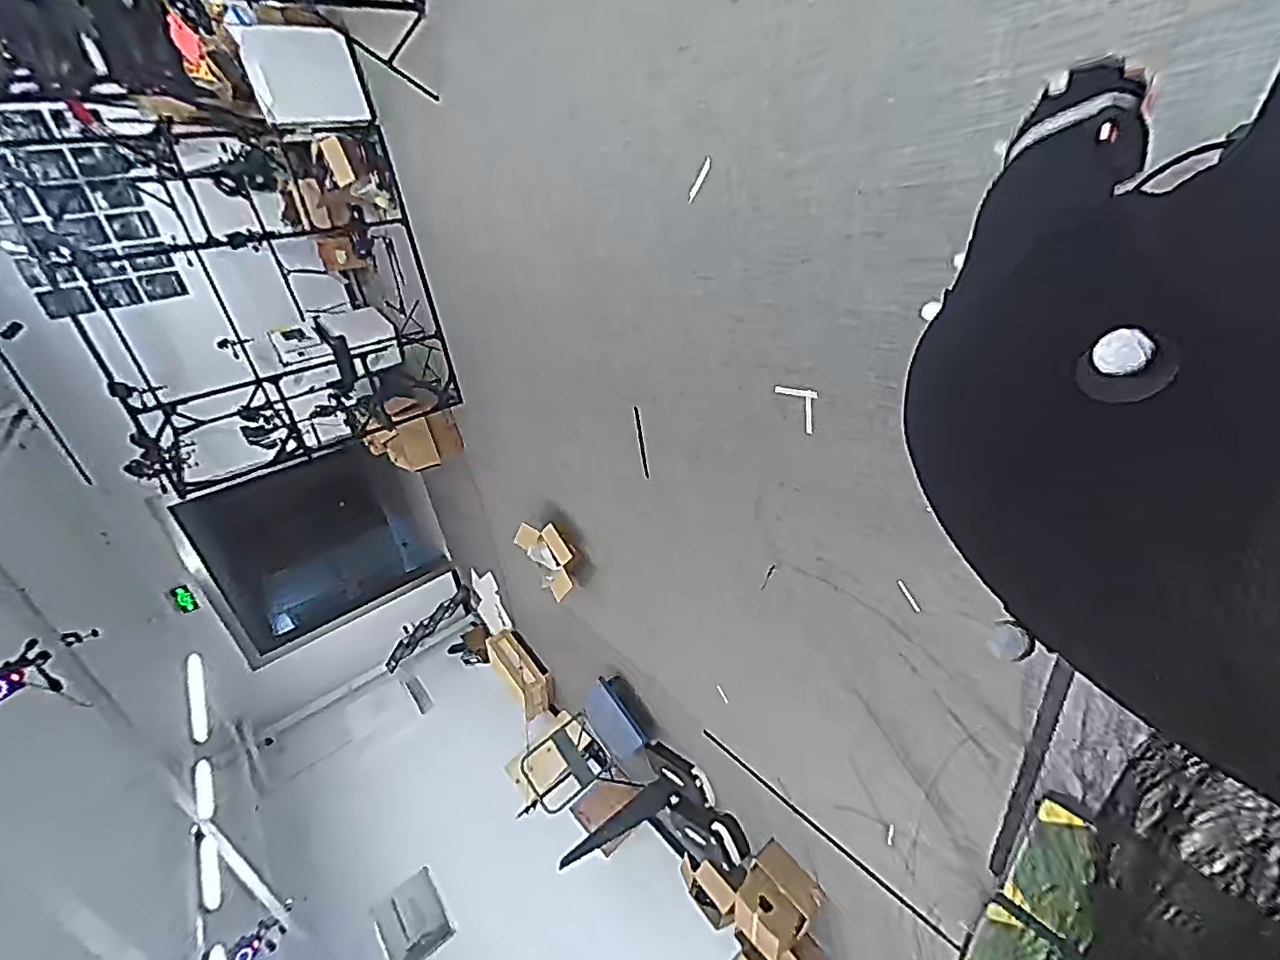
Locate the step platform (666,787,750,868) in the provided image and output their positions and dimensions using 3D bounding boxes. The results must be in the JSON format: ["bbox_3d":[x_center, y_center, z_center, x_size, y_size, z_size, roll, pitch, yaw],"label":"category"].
[{"bbox_3d":[0.464,2.476,3.870,0.684,0.204,0.286,-20,97,58],"label":"step platform"}]
